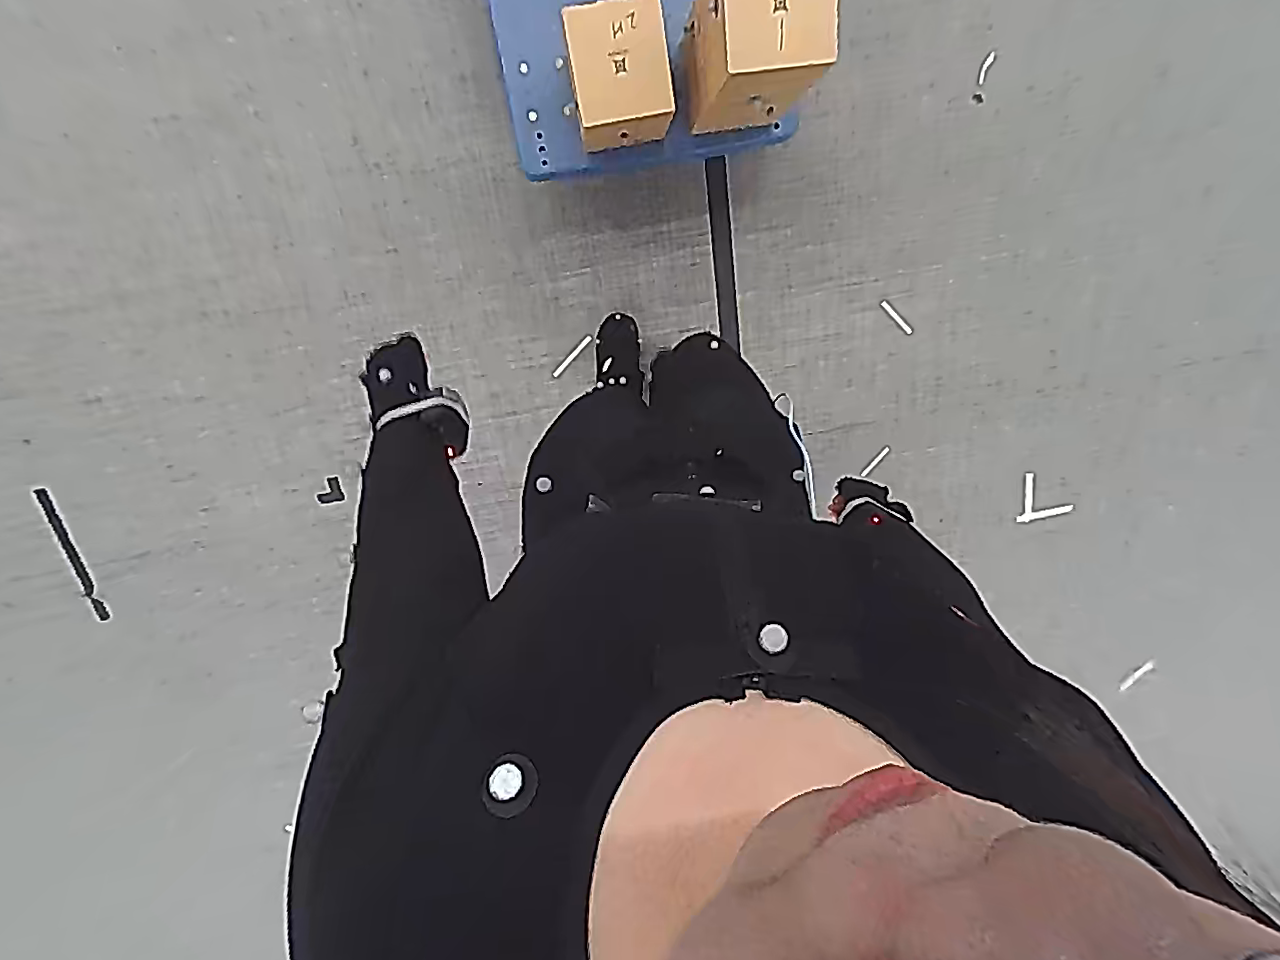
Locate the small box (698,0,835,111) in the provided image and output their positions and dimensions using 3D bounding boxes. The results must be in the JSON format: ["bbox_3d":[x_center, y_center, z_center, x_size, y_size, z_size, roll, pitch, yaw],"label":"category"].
[{"bbox_3d":[0.189,-0.707,0.840,0.168,0.176,0.179,-8,109,-2],"label":"small box"}]

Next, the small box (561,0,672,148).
[{"bbox_3d":[-0.042,-0.729,0.987,0.168,0.176,0.179,-11,108,-2],"label":"small box"}]
